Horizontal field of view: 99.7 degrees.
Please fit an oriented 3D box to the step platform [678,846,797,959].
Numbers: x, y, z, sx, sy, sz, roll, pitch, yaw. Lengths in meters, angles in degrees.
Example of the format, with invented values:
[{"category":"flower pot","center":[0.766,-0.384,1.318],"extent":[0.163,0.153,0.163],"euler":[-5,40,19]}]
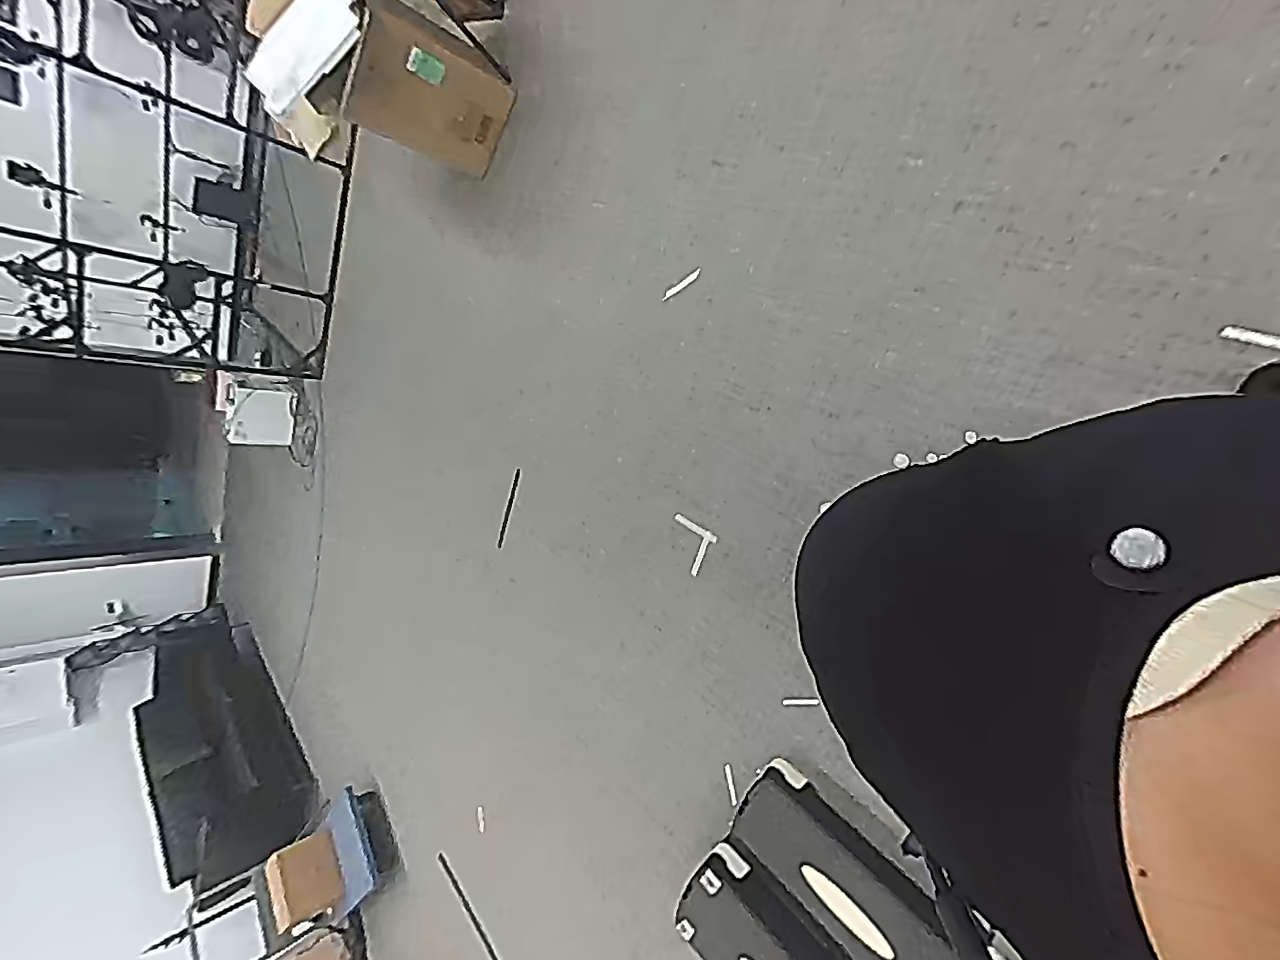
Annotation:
[{"category":"step platform","center":[0.408,1.357,1.391],"extent":[0.684,0.204,0.286],"euler":[40,115,37]}]
